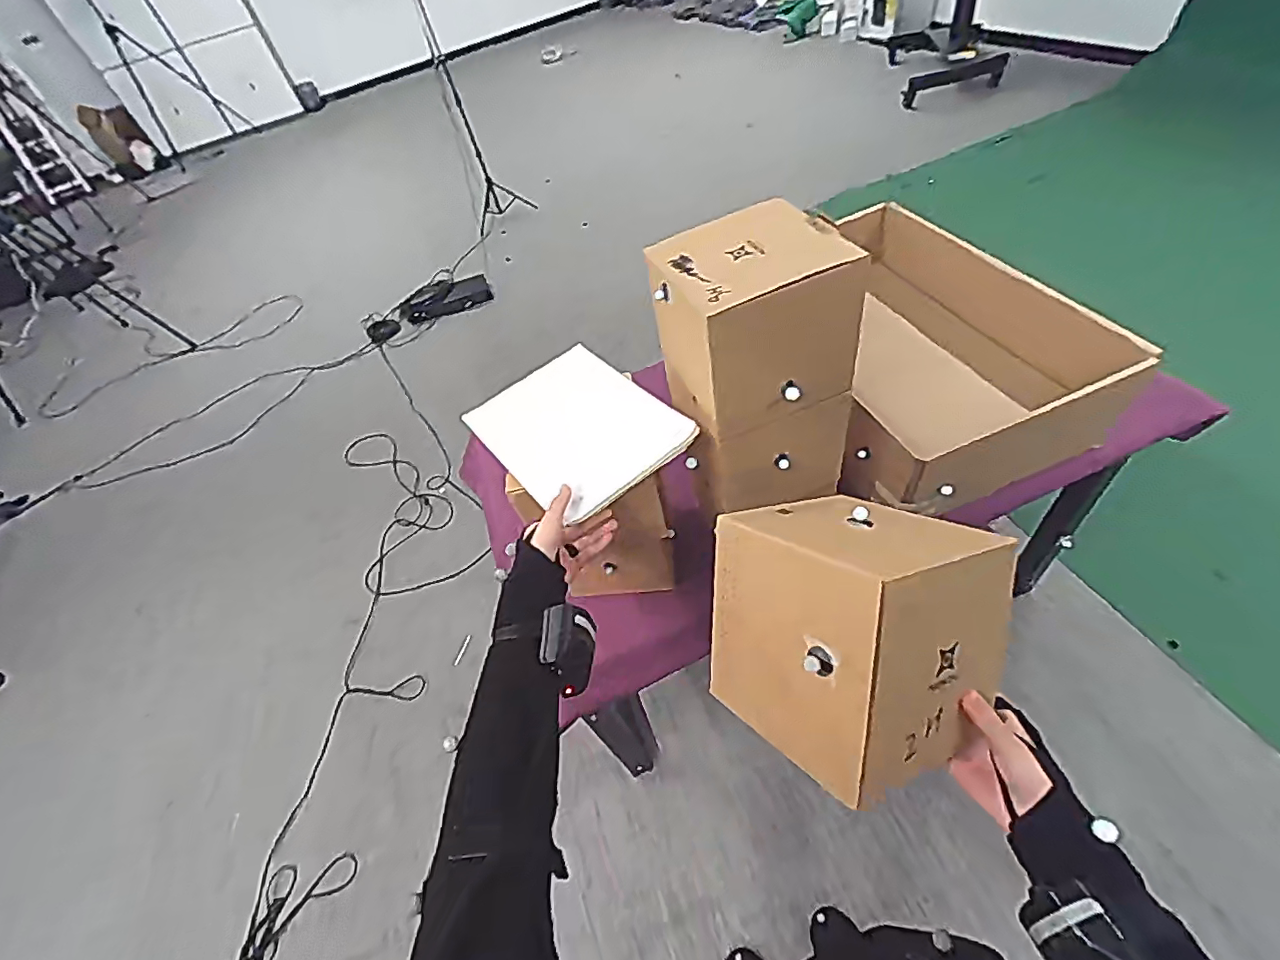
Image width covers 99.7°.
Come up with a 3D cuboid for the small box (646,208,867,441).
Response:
[{"bbox_3d":[0.125,-0.175,0.617,0.179,0.176,0.168,-22,47,-6],"label":"small box"}]

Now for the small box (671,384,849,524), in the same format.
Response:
[{"bbox_3d":[0.156,-0.069,0.739,0.179,0.176,0.168,-22,47,-5],"label":"small box"}]

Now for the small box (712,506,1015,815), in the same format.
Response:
[{"bbox_3d":[0.175,0.123,0.456,0.168,0.179,0.176,-6,13,-30],"label":"small box"}]
